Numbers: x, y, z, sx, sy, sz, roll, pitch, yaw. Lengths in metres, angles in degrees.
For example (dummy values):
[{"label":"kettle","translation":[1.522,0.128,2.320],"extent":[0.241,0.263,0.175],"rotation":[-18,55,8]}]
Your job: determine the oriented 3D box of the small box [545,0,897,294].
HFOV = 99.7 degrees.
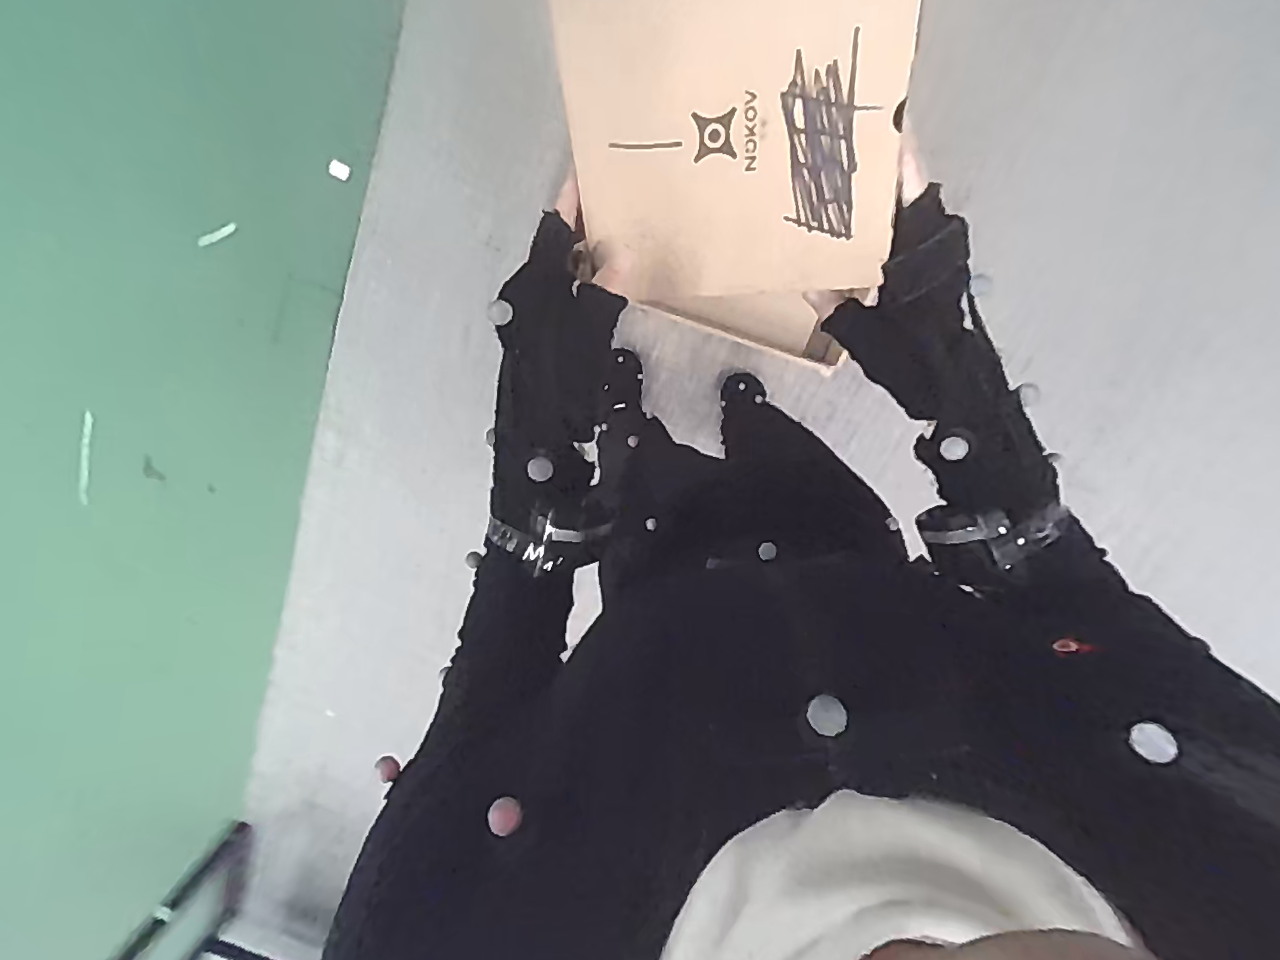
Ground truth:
[{"label":"small box","translation":[0.056,-0.235,0.365],"extent":[0.179,0.176,0.168],"rotation":[1,123,13]}]
